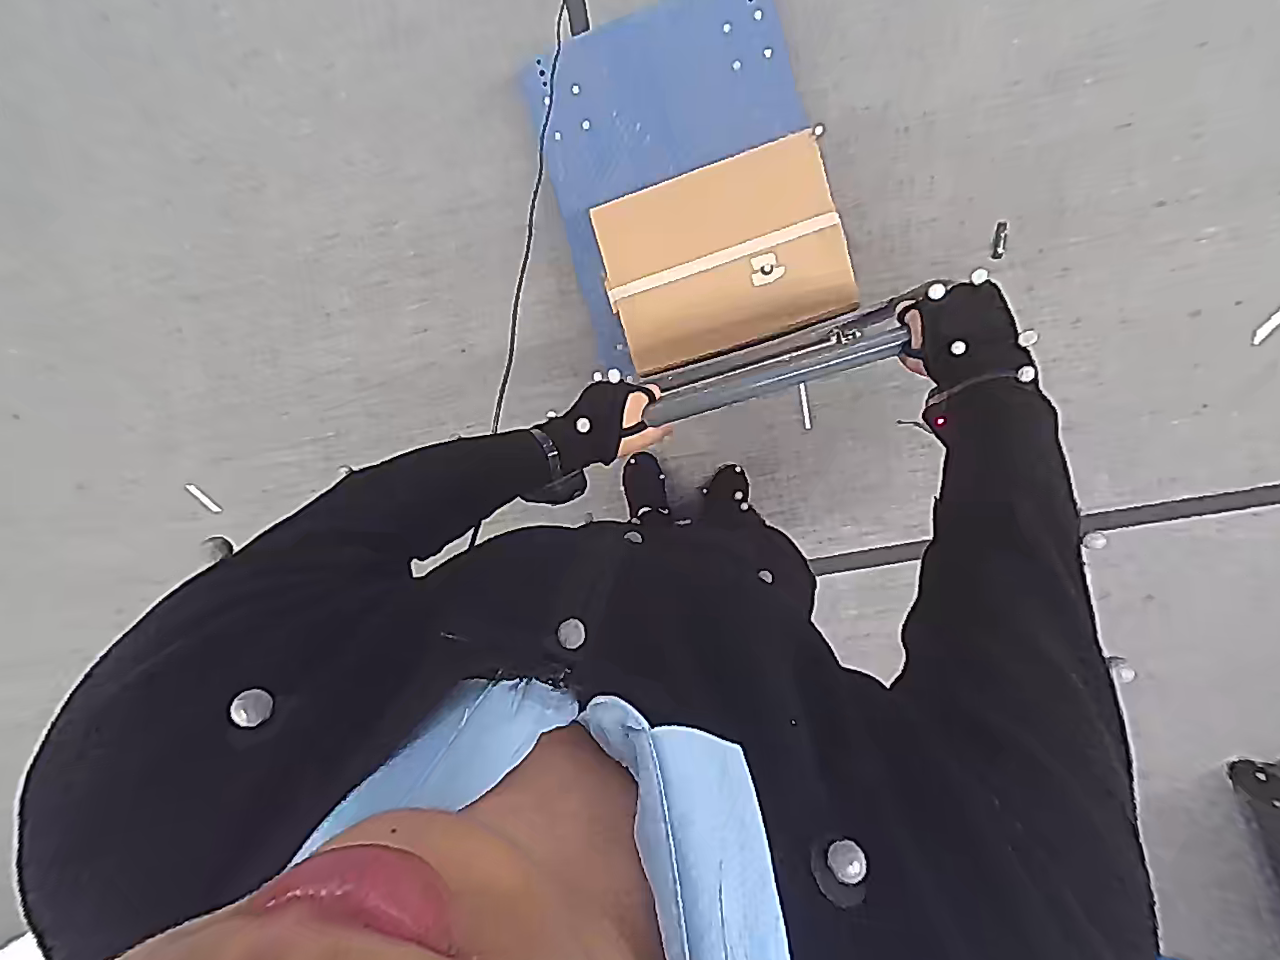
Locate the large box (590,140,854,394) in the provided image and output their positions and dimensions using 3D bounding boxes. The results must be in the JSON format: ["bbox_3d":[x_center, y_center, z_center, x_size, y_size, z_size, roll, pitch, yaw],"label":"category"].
[{"bbox_3d":[0.155,-0.388,1.095,0.408,0.320,0.320,-16,94,8],"label":"large box"}]
